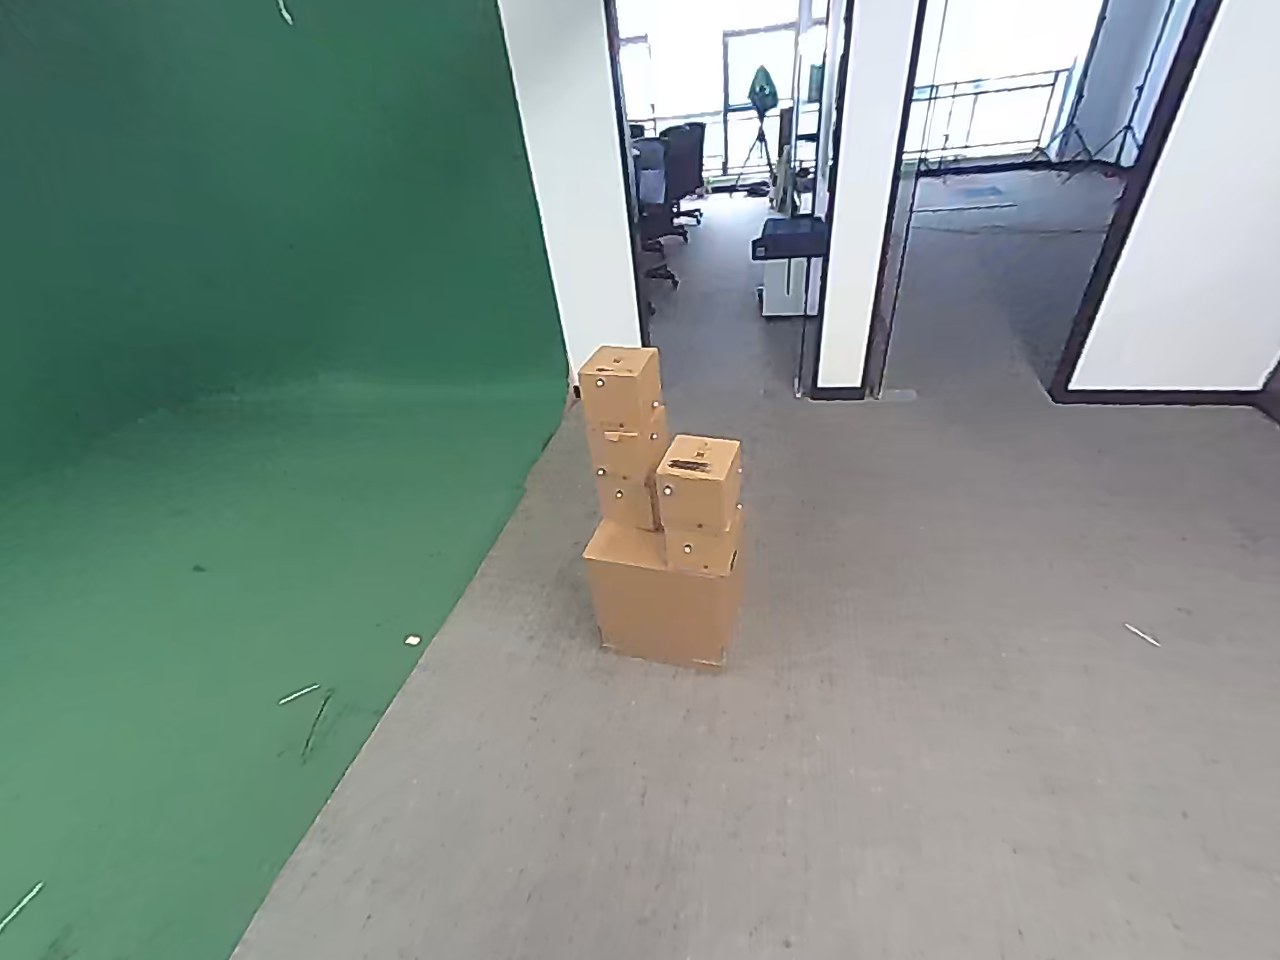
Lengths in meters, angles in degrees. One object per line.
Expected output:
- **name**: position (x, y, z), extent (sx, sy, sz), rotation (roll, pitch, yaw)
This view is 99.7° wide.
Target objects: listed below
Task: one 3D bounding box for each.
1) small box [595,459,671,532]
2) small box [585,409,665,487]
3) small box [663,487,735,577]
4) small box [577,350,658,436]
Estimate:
- **small box**: position (-0.015, 0.036, 1.643), extent (0.179, 0.176, 0.168), rotation (11, 39, 21)
- **small box**: position (-0.034, -0.099, 1.550), extent (0.168, 0.176, 0.179), rotation (11, 38, 24)
- **small box**: position (0.167, 0.140, 1.465), extent (0.168, 0.176, 0.179), rotation (5, 37, 15)
- **small box**: position (-0.052, -0.238, 1.461), extent (0.168, 0.176, 0.179), rotation (5, 36, 19)
